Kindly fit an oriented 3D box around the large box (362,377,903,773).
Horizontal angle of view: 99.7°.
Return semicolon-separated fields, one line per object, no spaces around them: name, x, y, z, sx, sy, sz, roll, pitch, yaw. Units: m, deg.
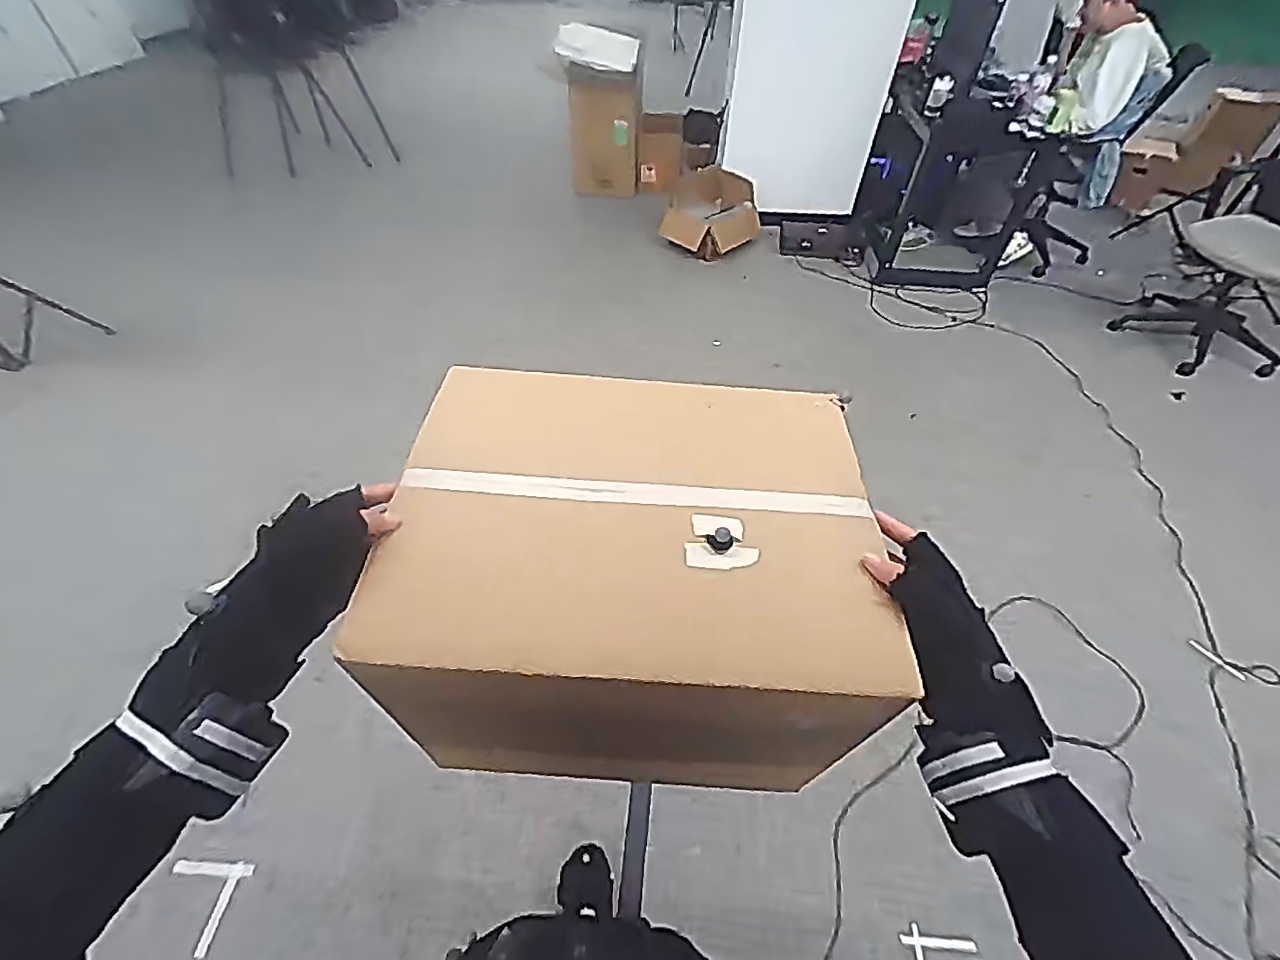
large box;-0.010;0.114;0.597;0.408;0.320;0.320;4;50;-2
